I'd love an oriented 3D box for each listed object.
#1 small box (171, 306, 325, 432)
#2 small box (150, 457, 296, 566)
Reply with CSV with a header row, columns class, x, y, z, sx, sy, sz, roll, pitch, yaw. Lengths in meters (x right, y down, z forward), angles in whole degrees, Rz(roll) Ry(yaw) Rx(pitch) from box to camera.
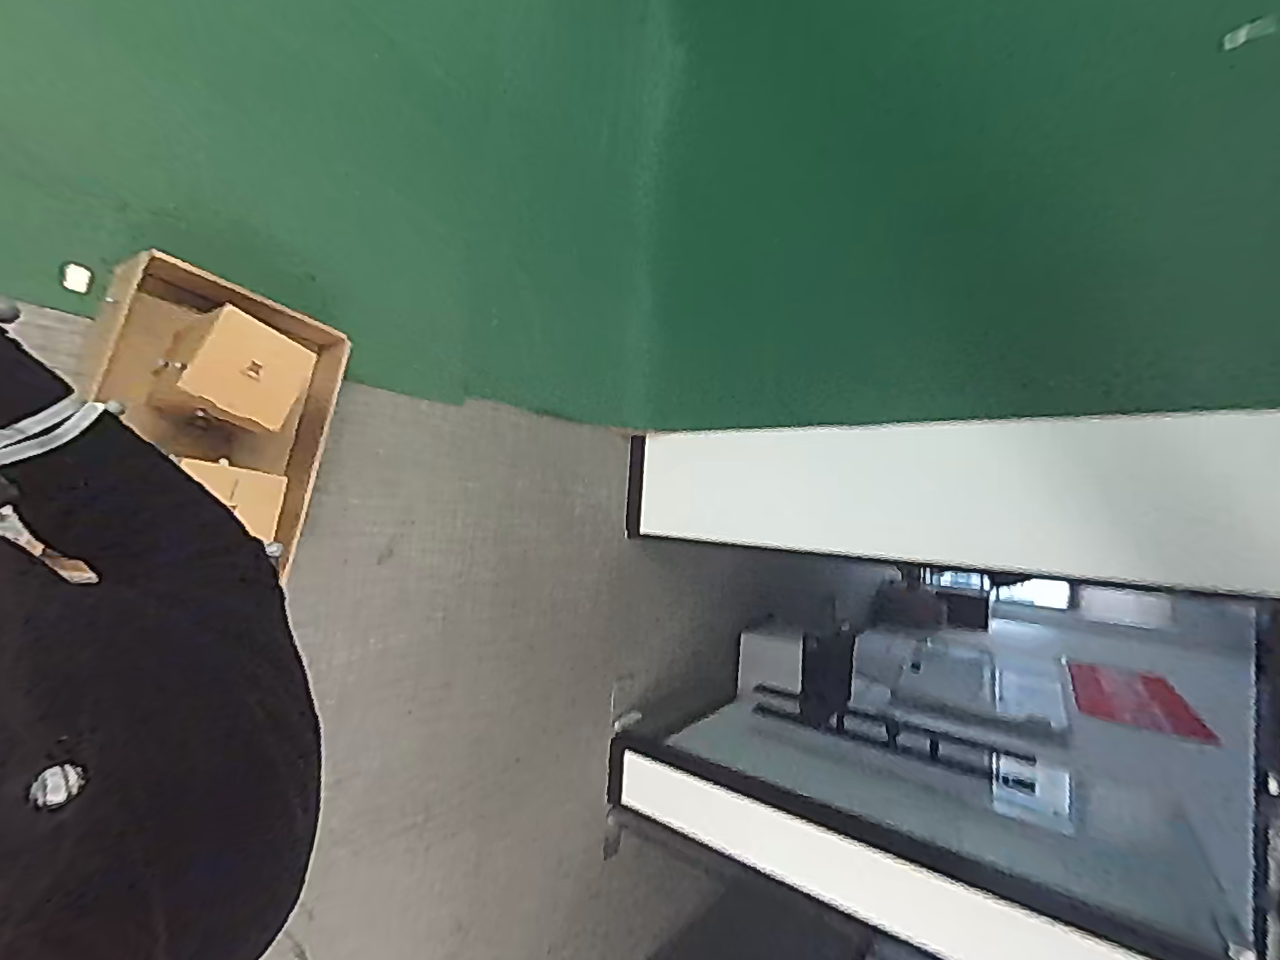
class,x,y,z,sx,sy,sz,roll,pitch,yaw
small box,-0.763,-0.209,1.050,0.168,0.176,0.179,36,66,-47
small box,-0.792,0.059,1.024,0.168,0.176,0.179,19,76,-51
